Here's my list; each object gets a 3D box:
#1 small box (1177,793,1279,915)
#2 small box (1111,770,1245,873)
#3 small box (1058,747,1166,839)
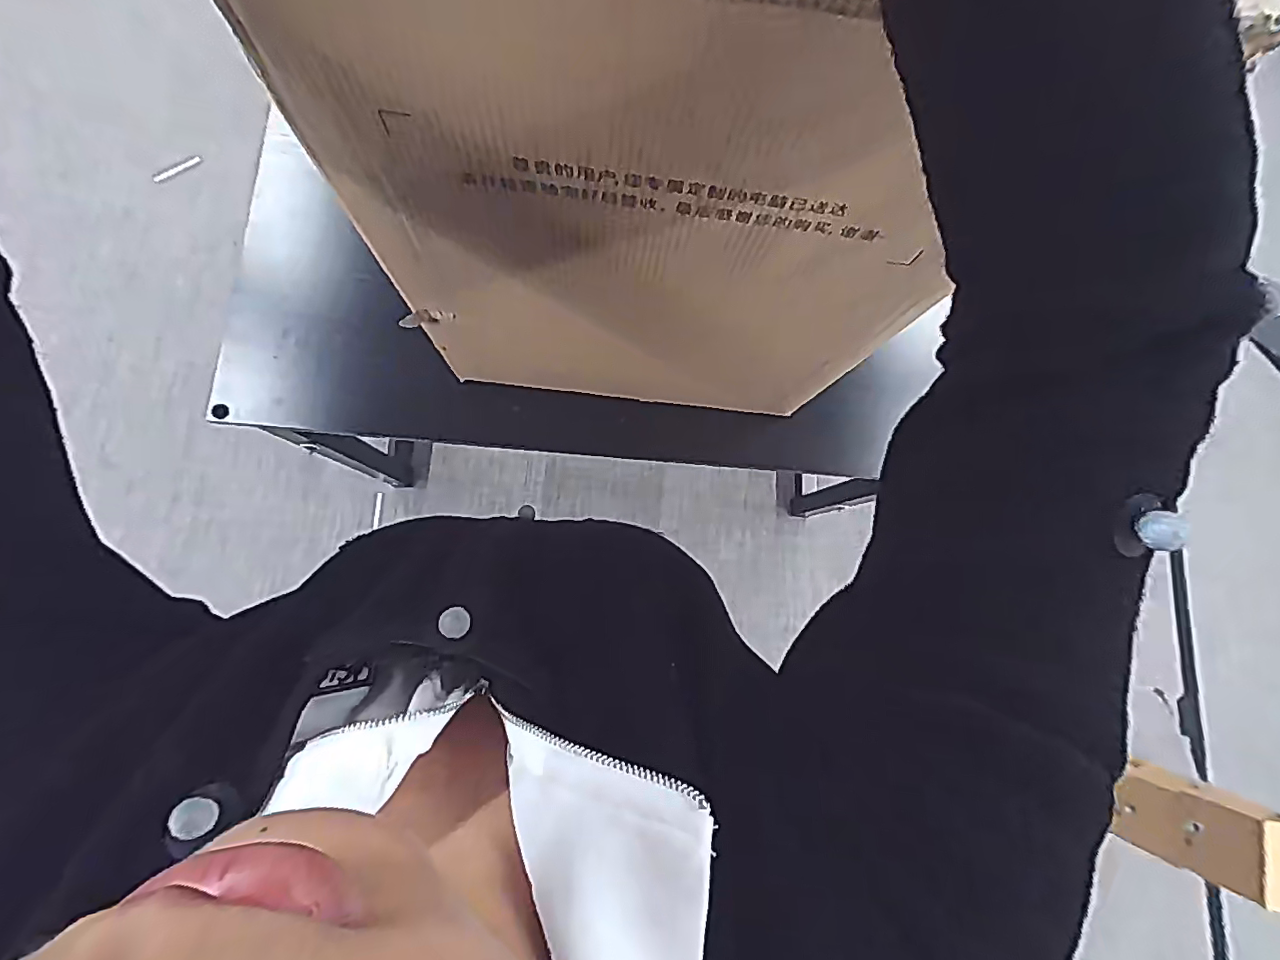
[{"bbox_3d":[1.311,0.794,1.151,0.179,0.176,0.168,11,79,-3],"label":"small box"},{"bbox_3d":[1.301,0.821,1.311,0.179,0.176,0.168,5,80,-5],"label":"small box"},{"bbox_3d":[1.284,0.843,1.473,0.168,0.176,0.179,2,81,-5],"label":"small box"}]
